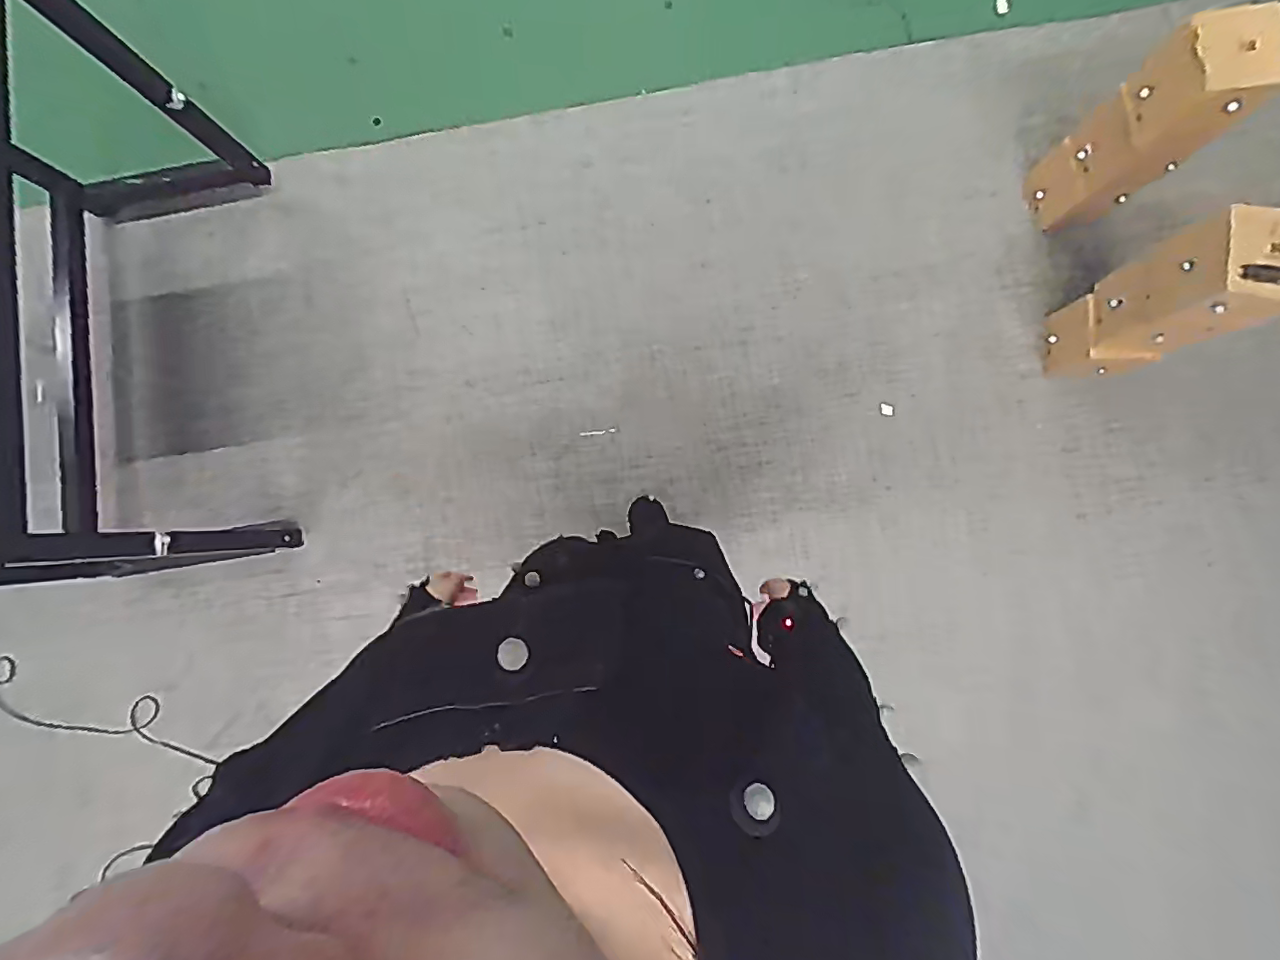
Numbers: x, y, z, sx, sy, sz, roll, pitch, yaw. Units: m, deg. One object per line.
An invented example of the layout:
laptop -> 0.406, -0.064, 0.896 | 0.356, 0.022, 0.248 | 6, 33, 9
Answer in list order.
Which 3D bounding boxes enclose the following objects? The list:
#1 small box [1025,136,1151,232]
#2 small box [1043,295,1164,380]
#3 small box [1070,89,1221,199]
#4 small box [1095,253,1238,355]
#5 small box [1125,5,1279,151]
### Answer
small box -> 1.173, -0.786, 1.426 | 0.179, 0.176, 0.168 | -12, 84, 2
small box -> 1.183, -0.360, 1.389 | 0.179, 0.176, 0.168 | 2, 85, 4
small box -> 1.169, -0.795, 1.264 | 0.179, 0.176, 0.168 | -12, 84, 2
small box -> 1.184, -0.393, 1.229 | 0.179, 0.176, 0.168 | 6, 85, 4
small box -> 1.157, -0.808, 1.102 | 0.179, 0.176, 0.168 | -6, 85, 3
